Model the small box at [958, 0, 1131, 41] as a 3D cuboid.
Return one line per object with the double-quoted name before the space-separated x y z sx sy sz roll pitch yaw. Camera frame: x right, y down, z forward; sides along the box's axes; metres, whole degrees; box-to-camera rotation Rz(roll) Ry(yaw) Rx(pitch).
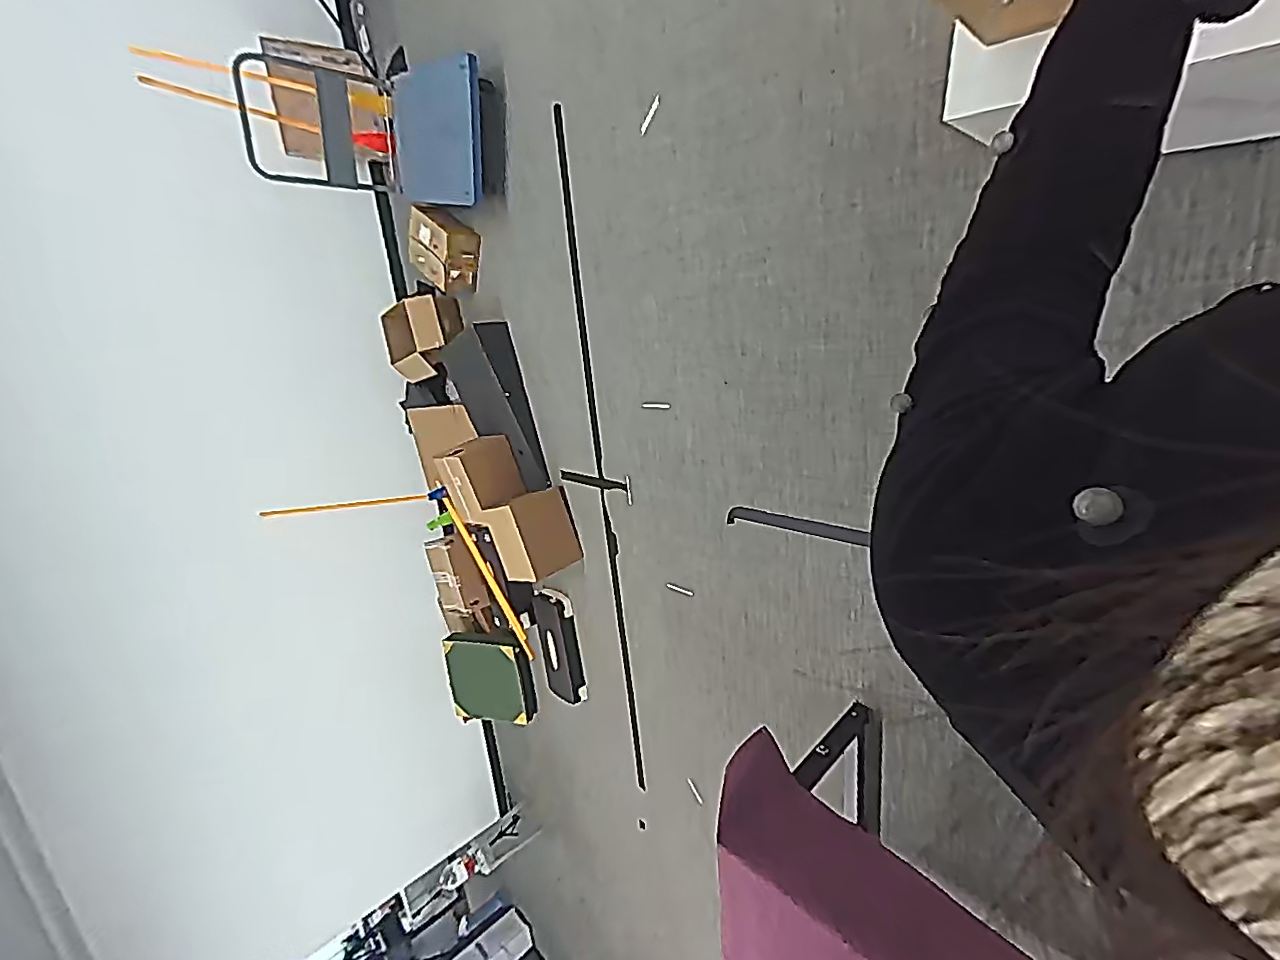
"small box" 0.452 -0.623 0.580 0.168 0.176 0.179 19 116 44
